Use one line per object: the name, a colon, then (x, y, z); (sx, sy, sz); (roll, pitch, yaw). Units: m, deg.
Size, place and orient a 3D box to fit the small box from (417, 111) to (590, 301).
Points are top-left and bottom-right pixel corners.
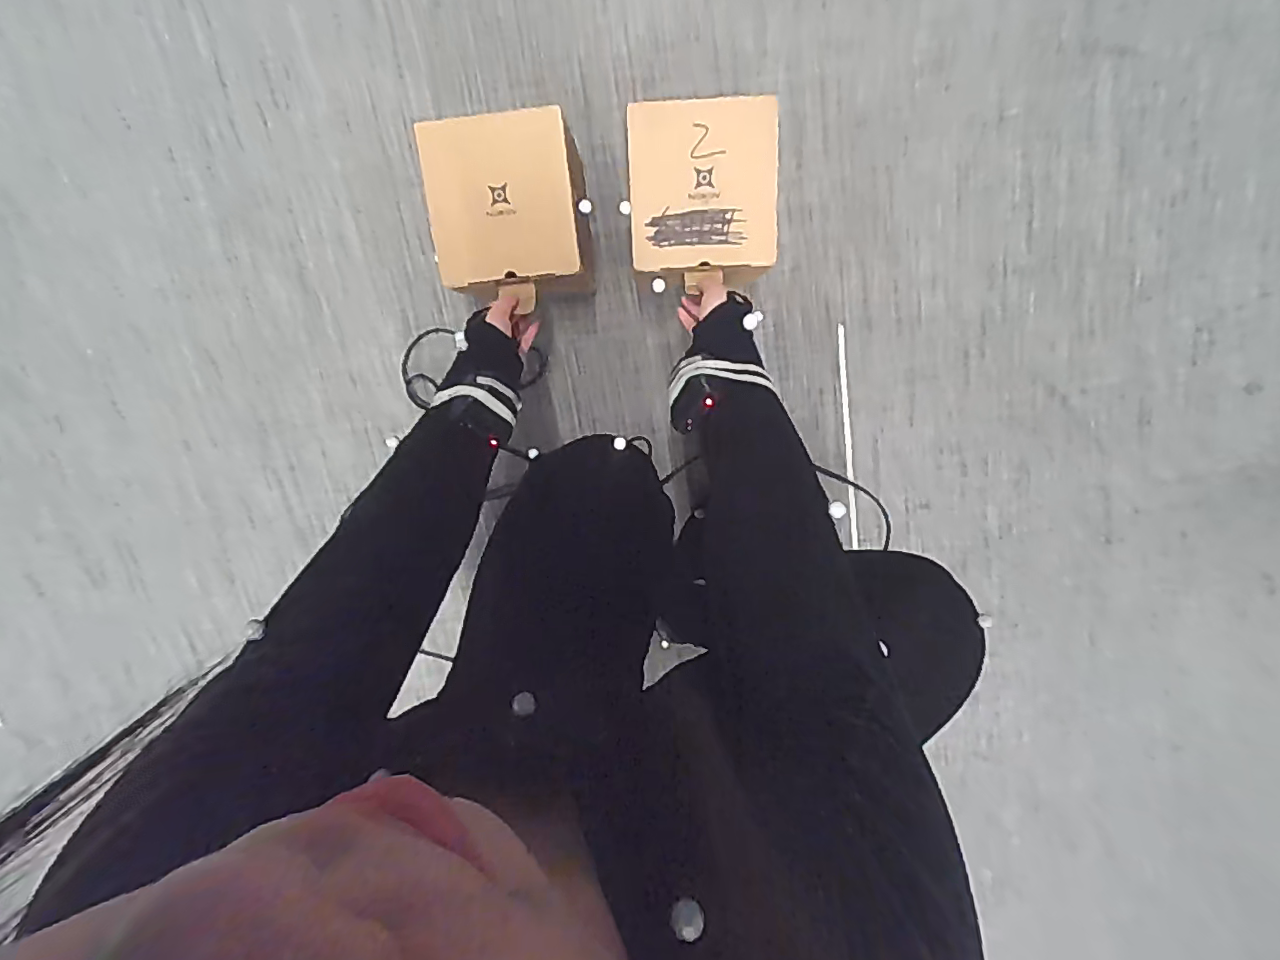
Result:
small box: (-0.160, -0.335, 0.693); (0.168, 0.176, 0.179); (-5, 104, 2)
